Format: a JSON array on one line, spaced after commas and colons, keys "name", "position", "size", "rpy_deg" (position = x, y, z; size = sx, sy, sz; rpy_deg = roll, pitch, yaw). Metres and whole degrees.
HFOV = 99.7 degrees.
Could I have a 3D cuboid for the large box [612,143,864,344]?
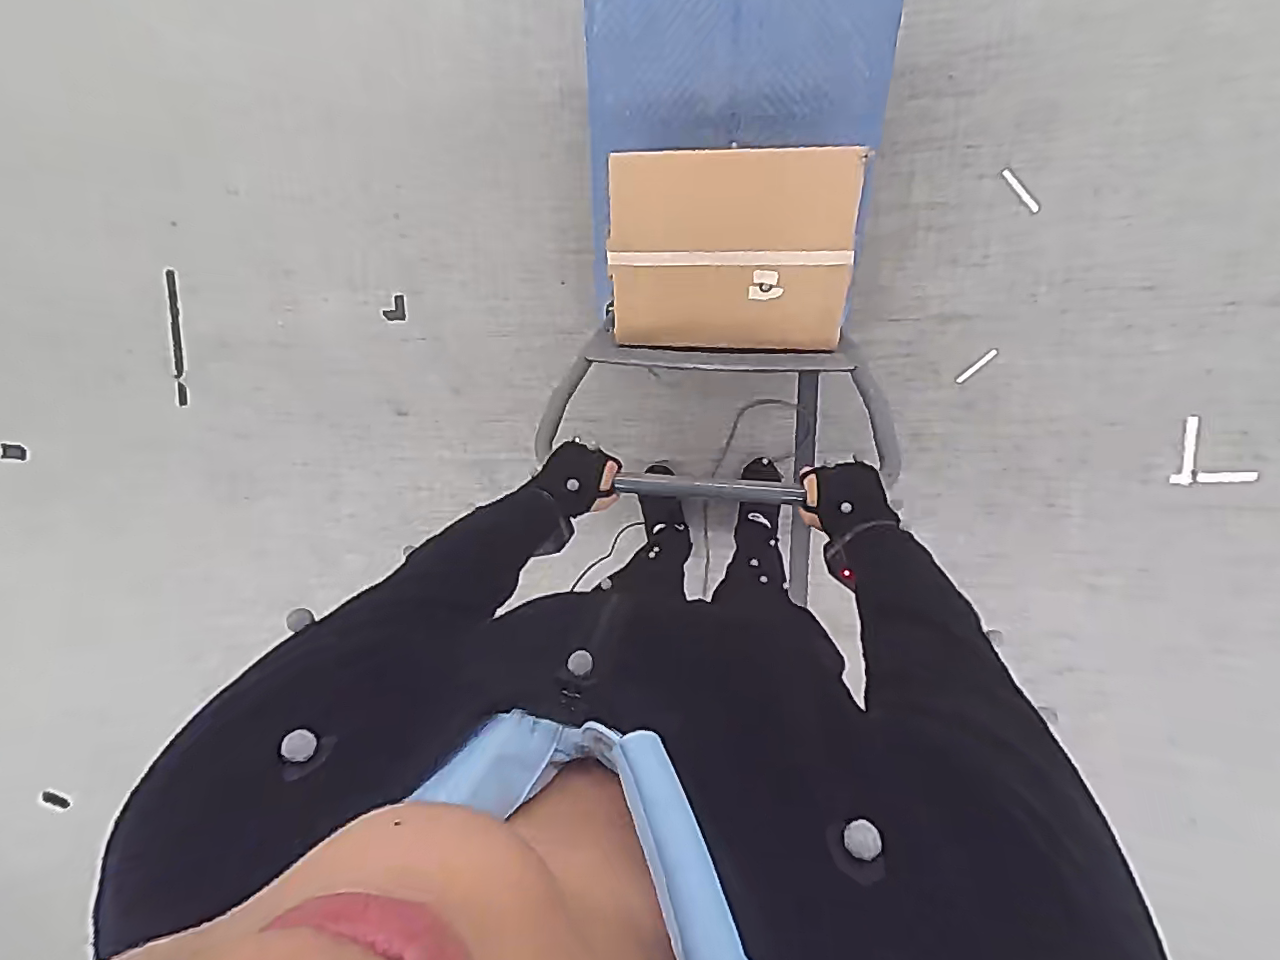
[{"name": "large box", "position": [0.174, -0.461, 1.060], "size": [0.408, 0.320, 0.320], "rpy_deg": [3, 120, 8]}]
